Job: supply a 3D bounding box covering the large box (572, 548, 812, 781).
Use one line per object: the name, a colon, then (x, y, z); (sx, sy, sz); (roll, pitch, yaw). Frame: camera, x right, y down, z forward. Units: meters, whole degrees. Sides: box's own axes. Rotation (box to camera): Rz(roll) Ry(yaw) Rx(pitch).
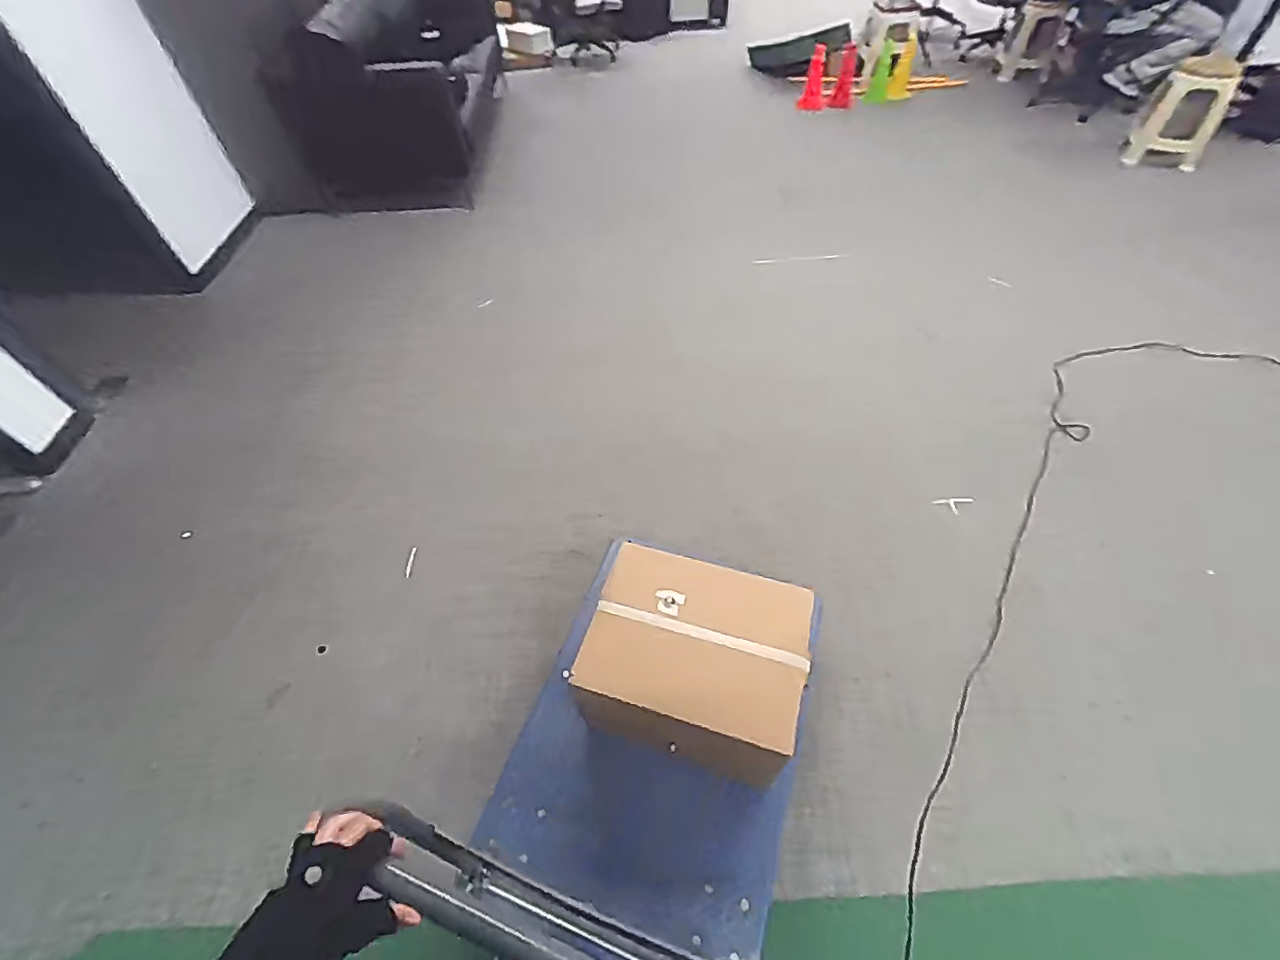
large box: (0.119, 0.388, 1.136); (0.408, 0.320, 0.320); (12, 52, 13)
